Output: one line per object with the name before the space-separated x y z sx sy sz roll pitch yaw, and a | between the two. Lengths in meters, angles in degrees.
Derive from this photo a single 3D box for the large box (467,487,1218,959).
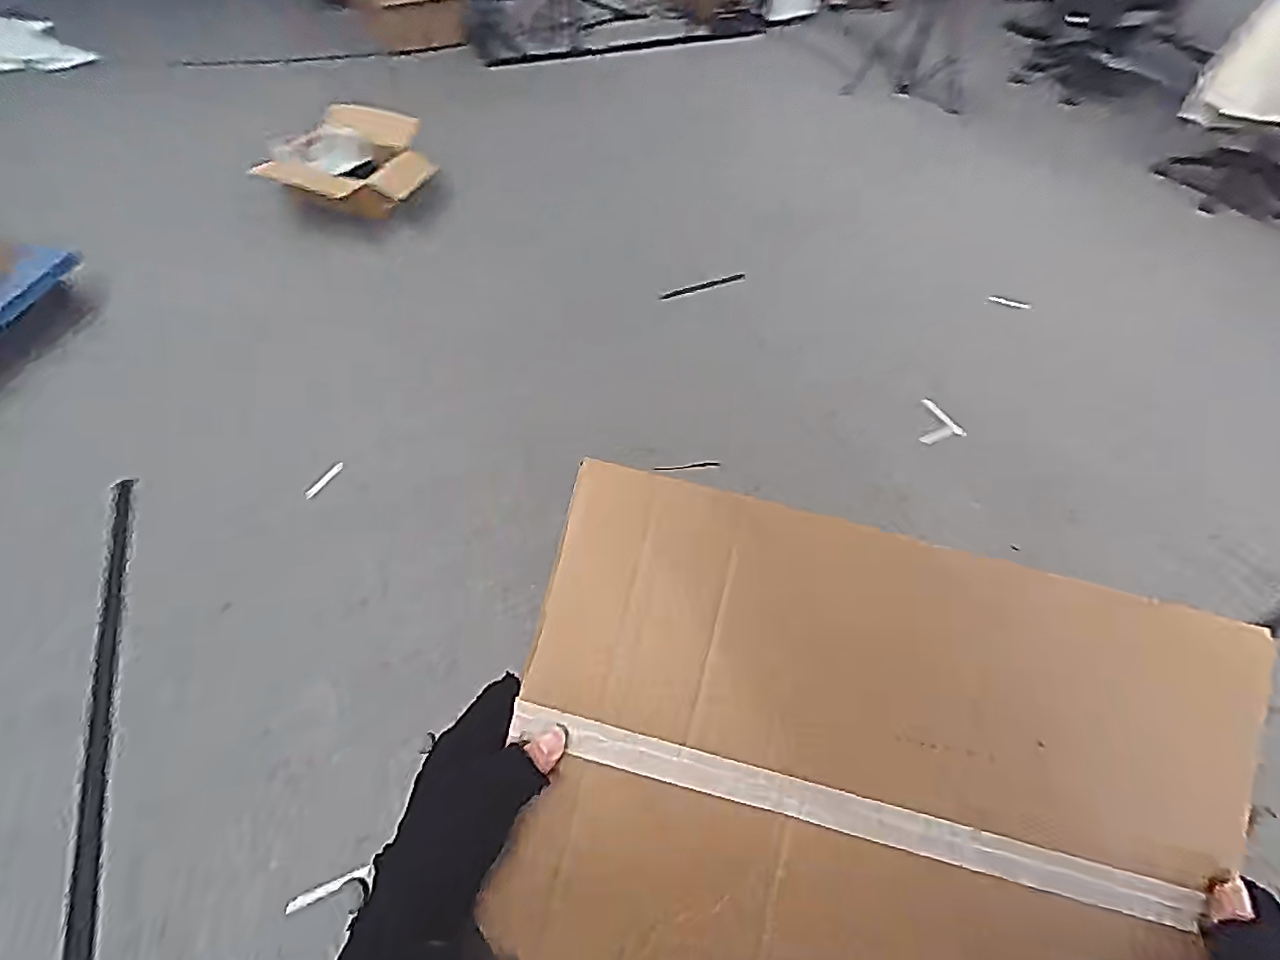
large box | 0.126 0.202 0.469 0.408 0.320 0.320 12 85 3
